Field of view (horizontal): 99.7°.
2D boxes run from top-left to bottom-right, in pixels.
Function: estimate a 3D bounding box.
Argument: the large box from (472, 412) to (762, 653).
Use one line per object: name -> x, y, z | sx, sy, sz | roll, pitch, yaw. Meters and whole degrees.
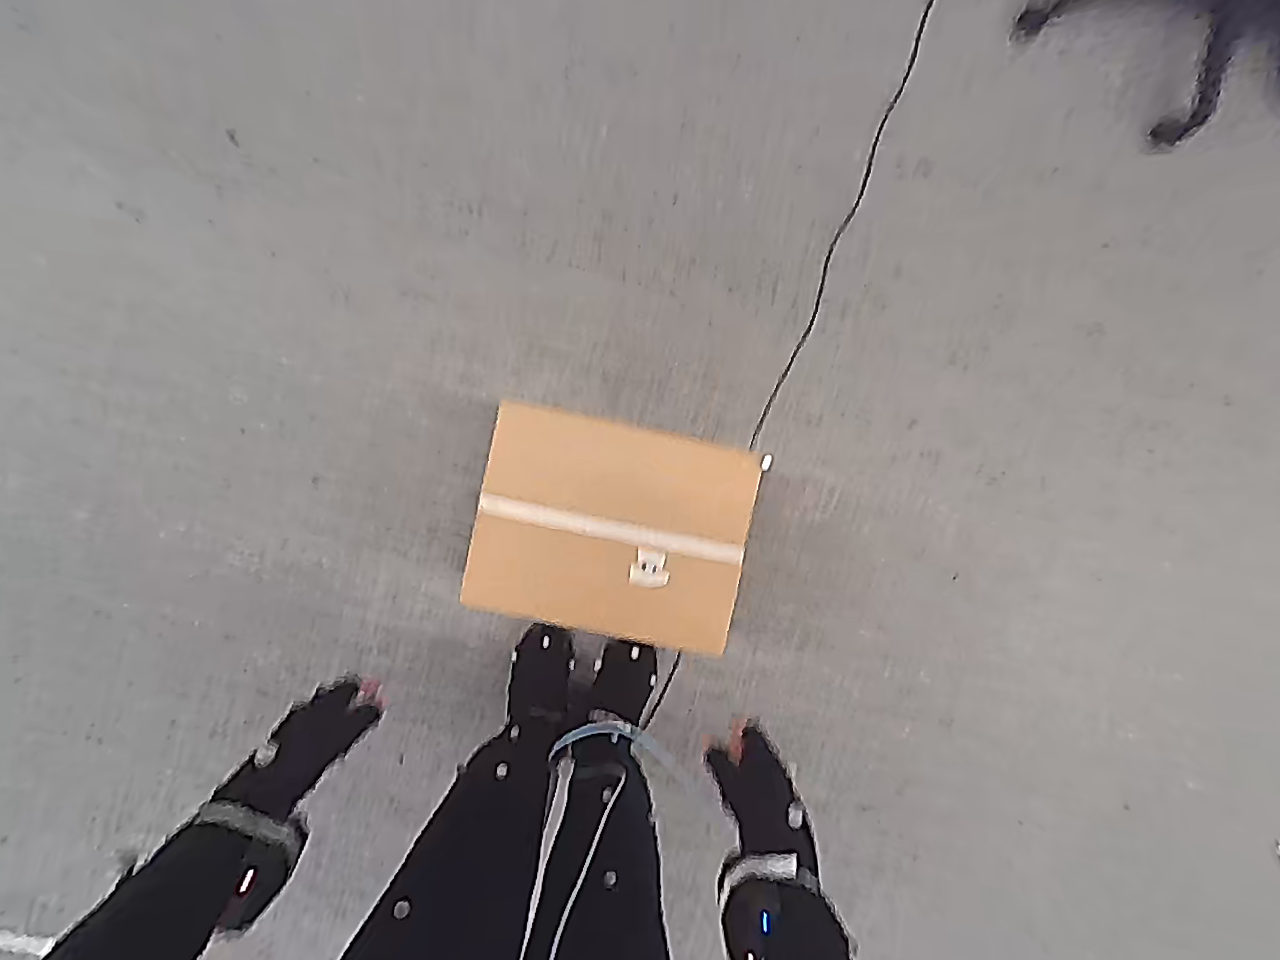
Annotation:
large box -> -0.041, 0.084, 0.976 | 0.408, 0.320, 0.320 | 12, 89, -2
